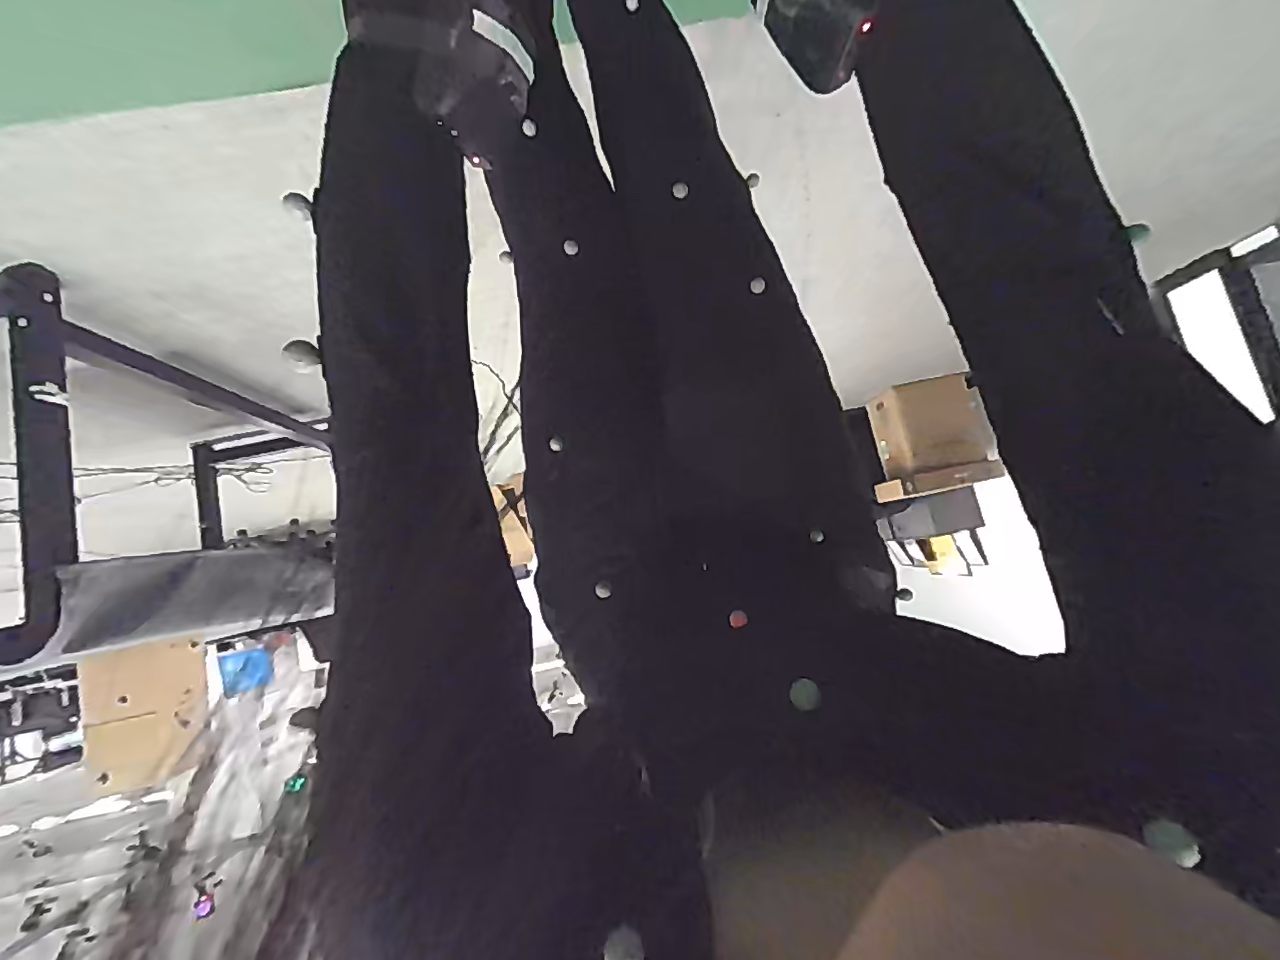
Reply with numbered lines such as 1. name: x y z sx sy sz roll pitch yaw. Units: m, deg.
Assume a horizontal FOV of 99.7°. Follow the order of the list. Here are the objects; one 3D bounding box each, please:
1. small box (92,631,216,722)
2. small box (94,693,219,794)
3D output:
1. small box: -1.224 0.484 1.362 0.179 0.176 0.168 -11 172 -2
2. small box: -1.205 0.648 1.353 0.179 0.176 0.168 -13 173 0
